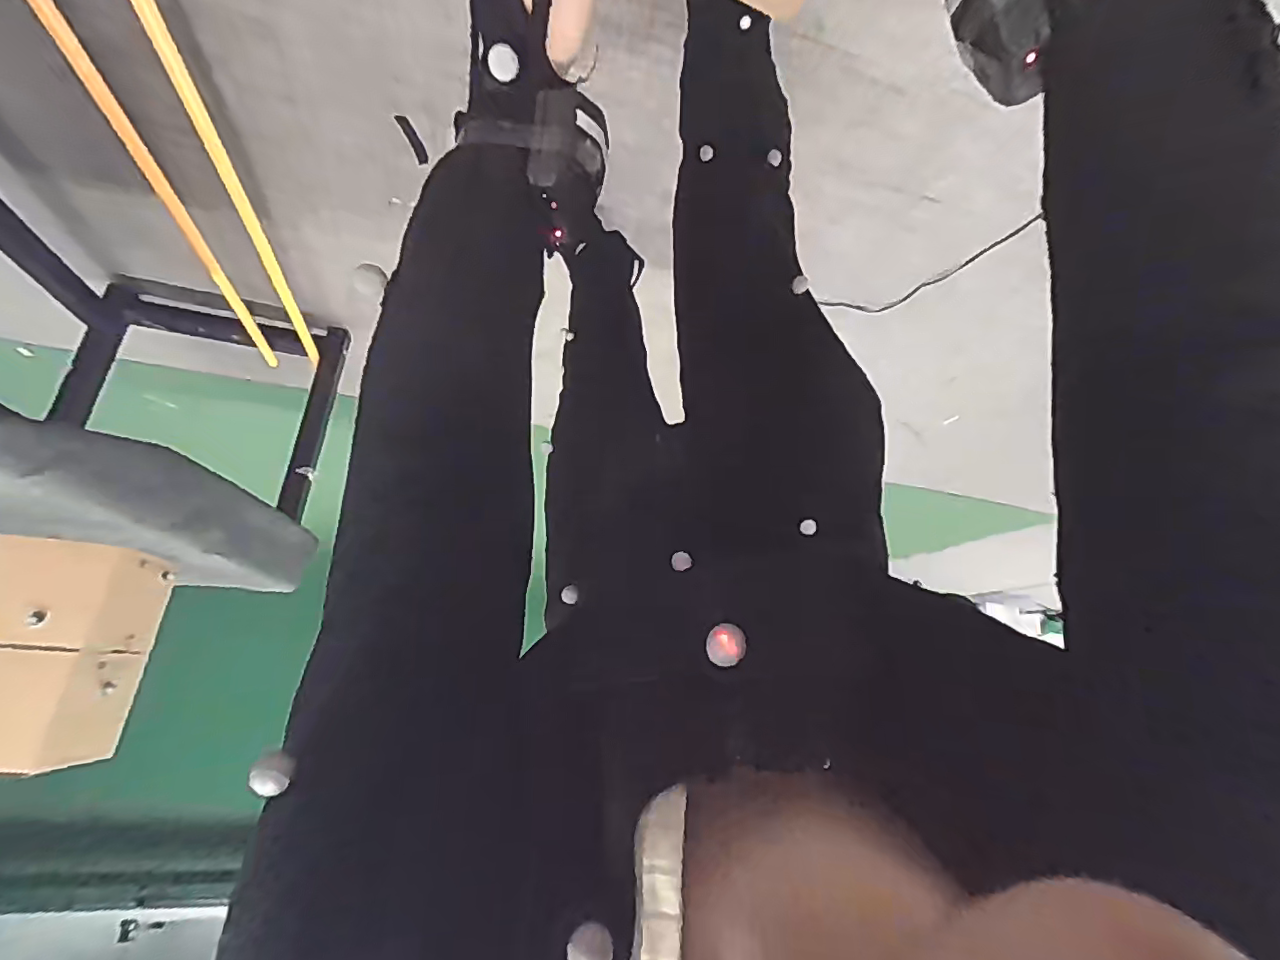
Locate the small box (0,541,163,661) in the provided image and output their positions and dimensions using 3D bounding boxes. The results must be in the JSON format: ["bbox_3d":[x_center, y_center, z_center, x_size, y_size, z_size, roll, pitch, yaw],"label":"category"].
[{"bbox_3d":[-0.937,0.202,0.887,0.179,0.176,0.168,9,159,-10],"label":"small box"}]

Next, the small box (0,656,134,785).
[{"bbox_3d":[-0.950,0.356,0.830,0.179,0.176,0.168,7,160,-9],"label":"small box"}]
